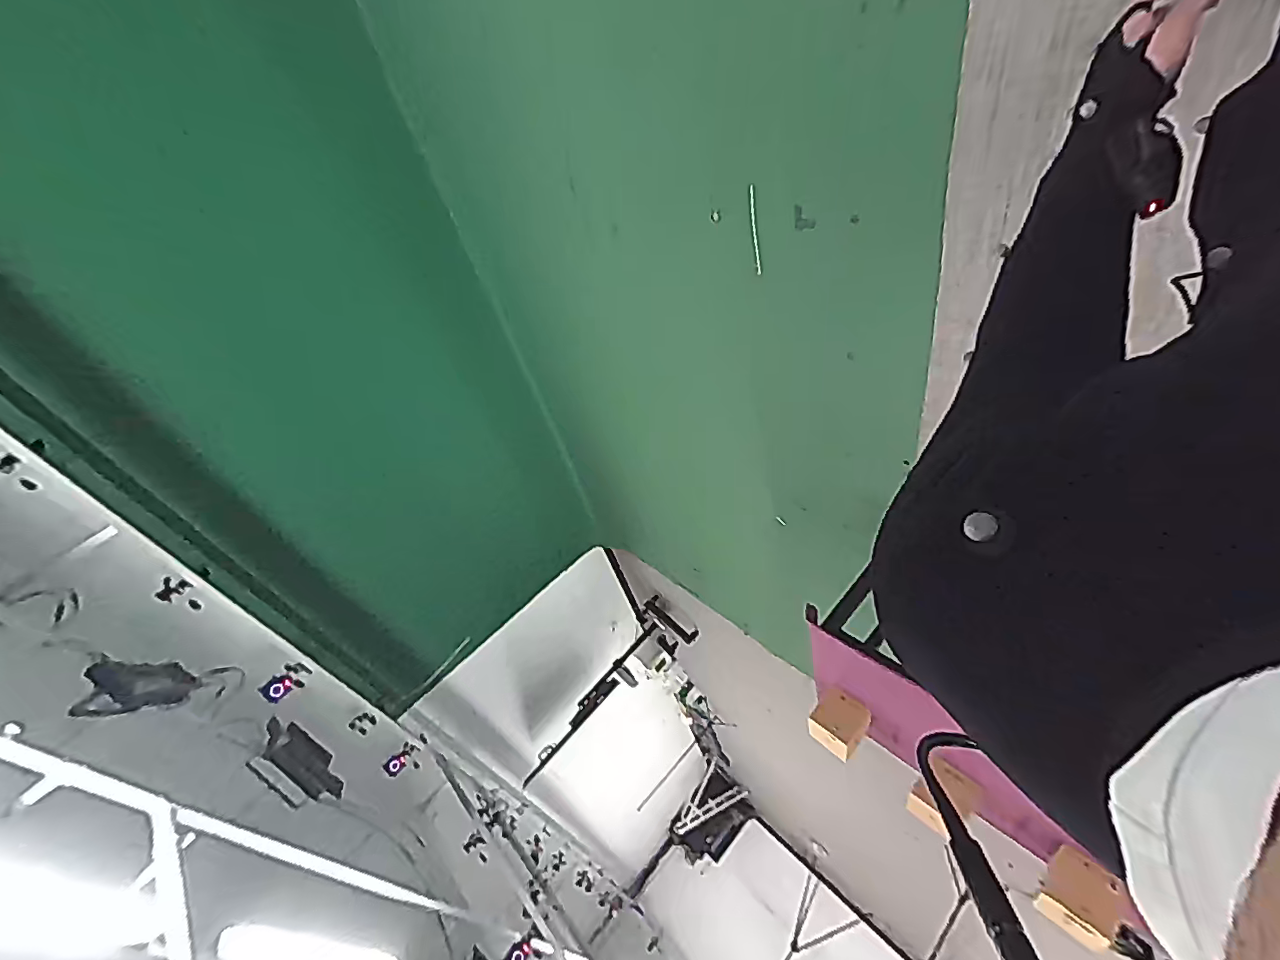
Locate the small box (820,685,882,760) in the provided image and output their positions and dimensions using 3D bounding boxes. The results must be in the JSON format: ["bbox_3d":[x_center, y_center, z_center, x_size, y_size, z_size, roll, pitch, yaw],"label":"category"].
[{"bbox_3d":[0.813,0.930,2.080,0.168,0.176,0.179,28,150,40],"label":"small box"}]

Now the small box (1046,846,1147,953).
[{"bbox_3d":[1.323,1.208,1.567,0.168,0.176,0.179,28,150,42],"label":"small box"}]

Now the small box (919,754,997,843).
[{"bbox_3d":[1.072,1.071,1.824,0.168,0.176,0.179,28,149,41],"label":"small box"}]
